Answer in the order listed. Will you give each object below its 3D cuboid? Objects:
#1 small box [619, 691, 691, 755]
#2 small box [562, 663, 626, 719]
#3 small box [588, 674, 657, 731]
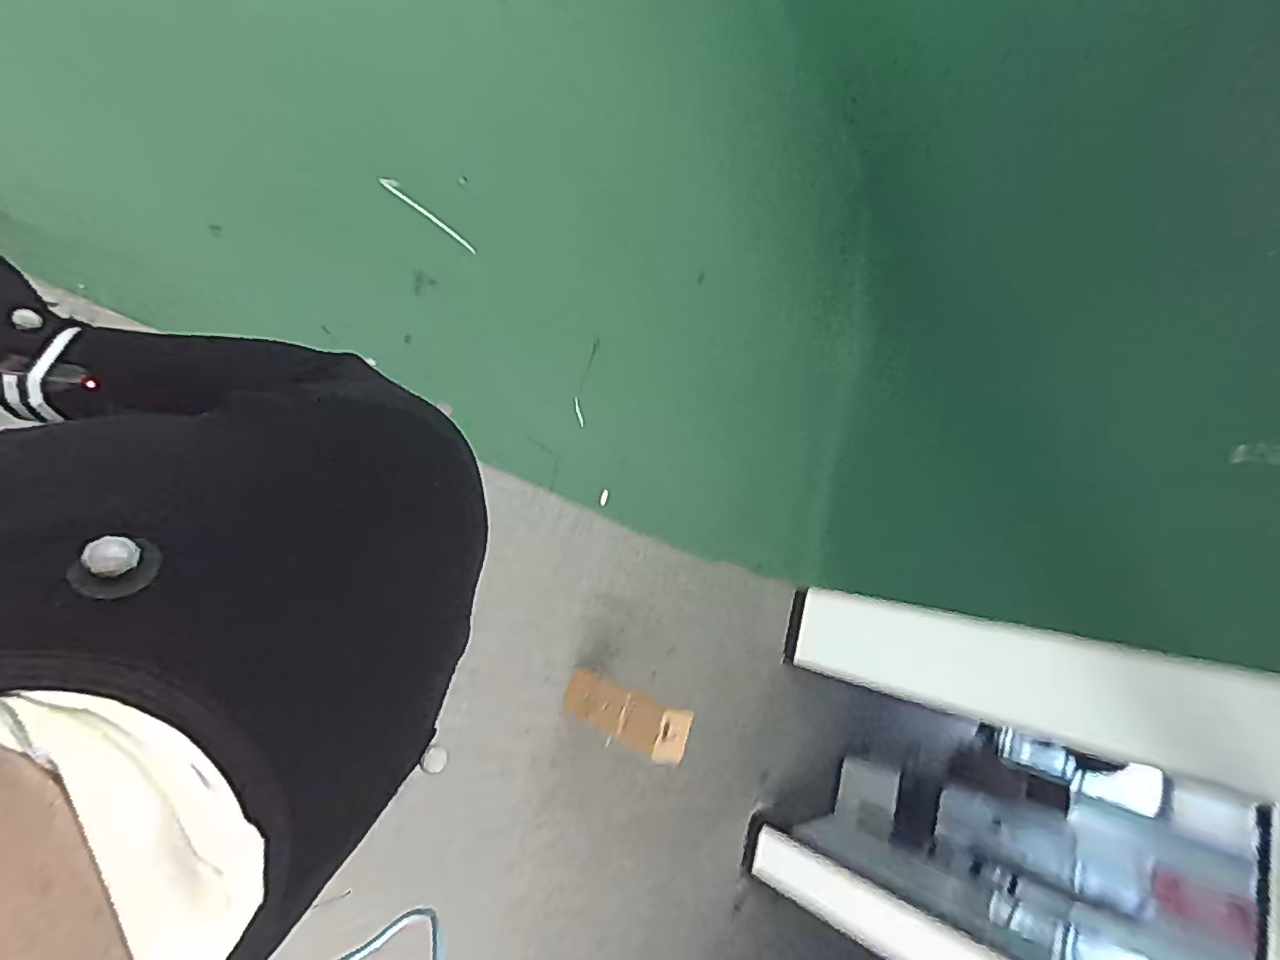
[{"bbox_3d":[0.052,0.871,1.945,0.179,0.176,0.168,32,70,-43],"label":"small box"},{"bbox_3d":[-0.187,0.850,2.170,0.168,0.176,0.179,34,69,-42],"label":"small box"},{"bbox_3d":[-0.070,0.852,2.056,0.179,0.176,0.168,32,70,-41],"label":"small box"}]
